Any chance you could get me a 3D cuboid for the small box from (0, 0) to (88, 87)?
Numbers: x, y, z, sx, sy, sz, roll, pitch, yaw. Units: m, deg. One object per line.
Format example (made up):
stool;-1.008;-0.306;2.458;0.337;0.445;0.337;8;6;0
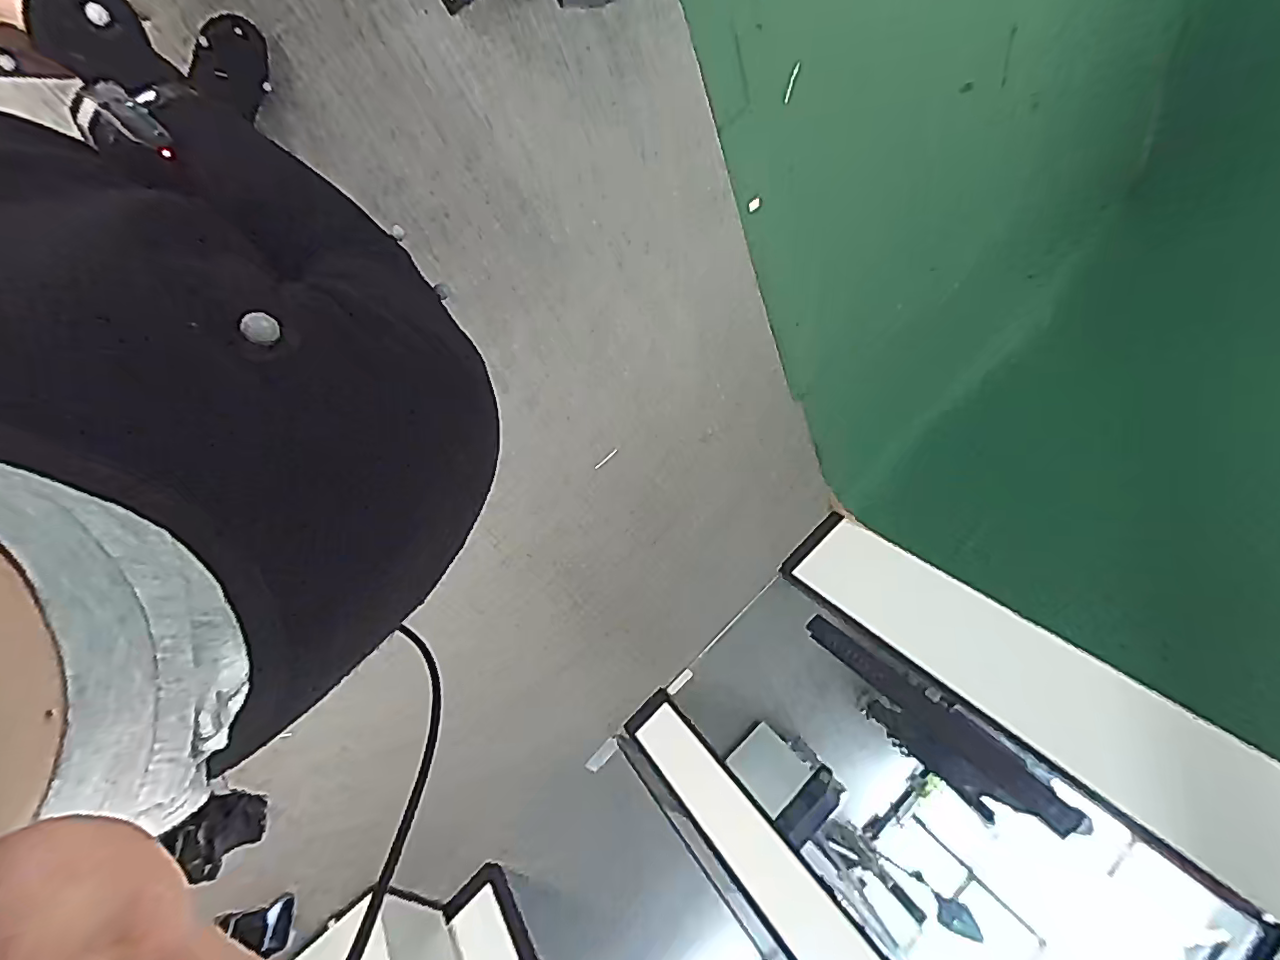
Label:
small box;-0.584;-0.427;0.415;0.168;0.176;0.179;-22;116;-28
